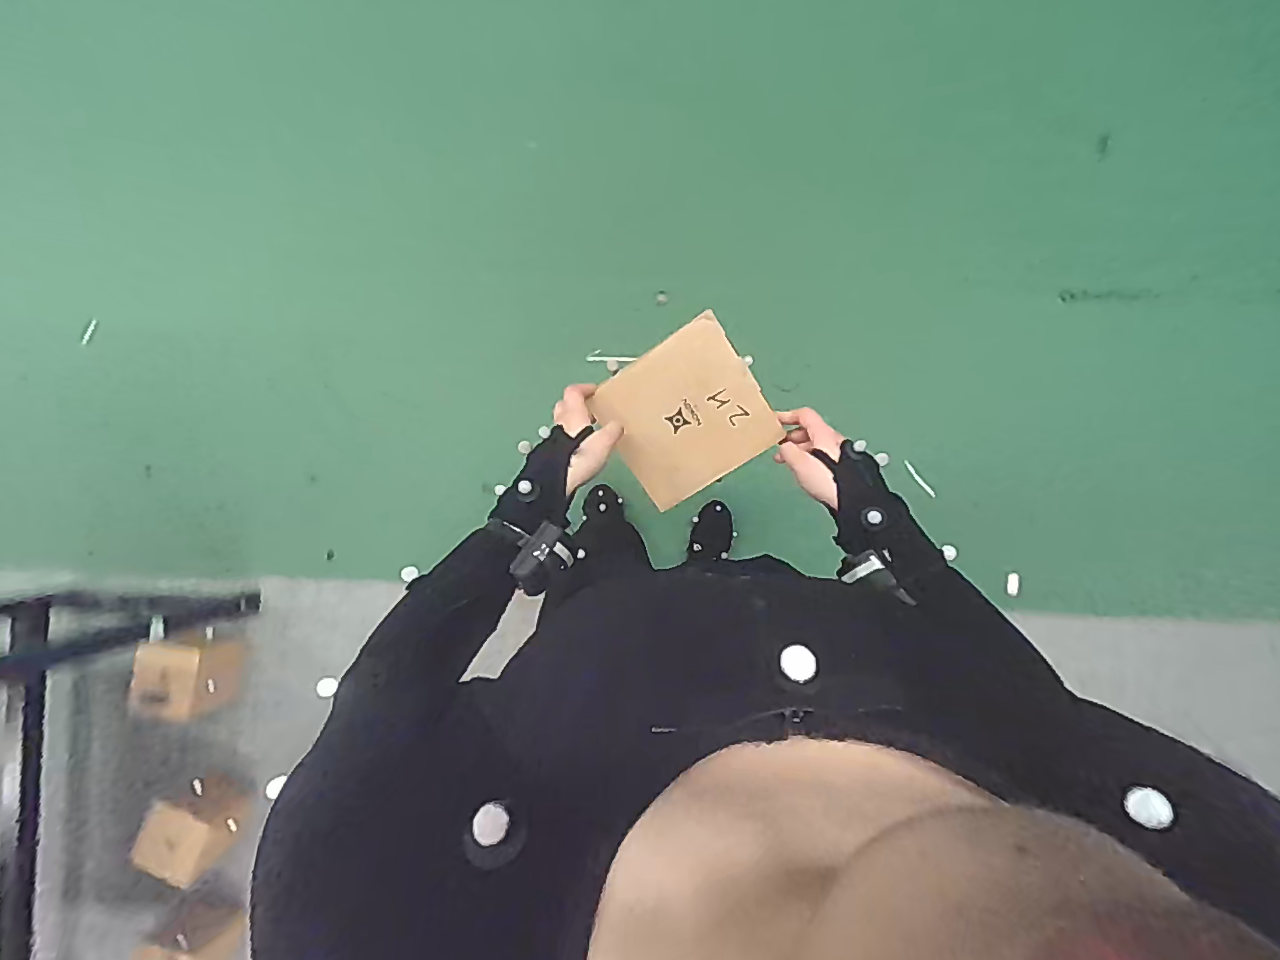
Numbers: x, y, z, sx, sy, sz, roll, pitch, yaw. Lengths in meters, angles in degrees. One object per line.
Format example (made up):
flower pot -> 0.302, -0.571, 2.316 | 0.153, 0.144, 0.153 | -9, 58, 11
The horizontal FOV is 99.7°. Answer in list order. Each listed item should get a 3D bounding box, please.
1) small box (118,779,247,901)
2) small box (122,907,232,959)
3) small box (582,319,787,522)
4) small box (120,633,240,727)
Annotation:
small box -> -1.181, 0.926, 1.411 | 0.168, 0.176, 0.179 | 23, 90, 3
small box -> -1.209, 1.272, 1.402 | 0.168, 0.176, 0.179 | 14, 89, 2
small box -> 0.055, -0.080, 0.676 | 0.179, 0.176, 0.168 | -35, 101, 12
small box -> -1.201, 0.520, 1.424 | 0.168, 0.176, 0.179 | 8, 87, 2
